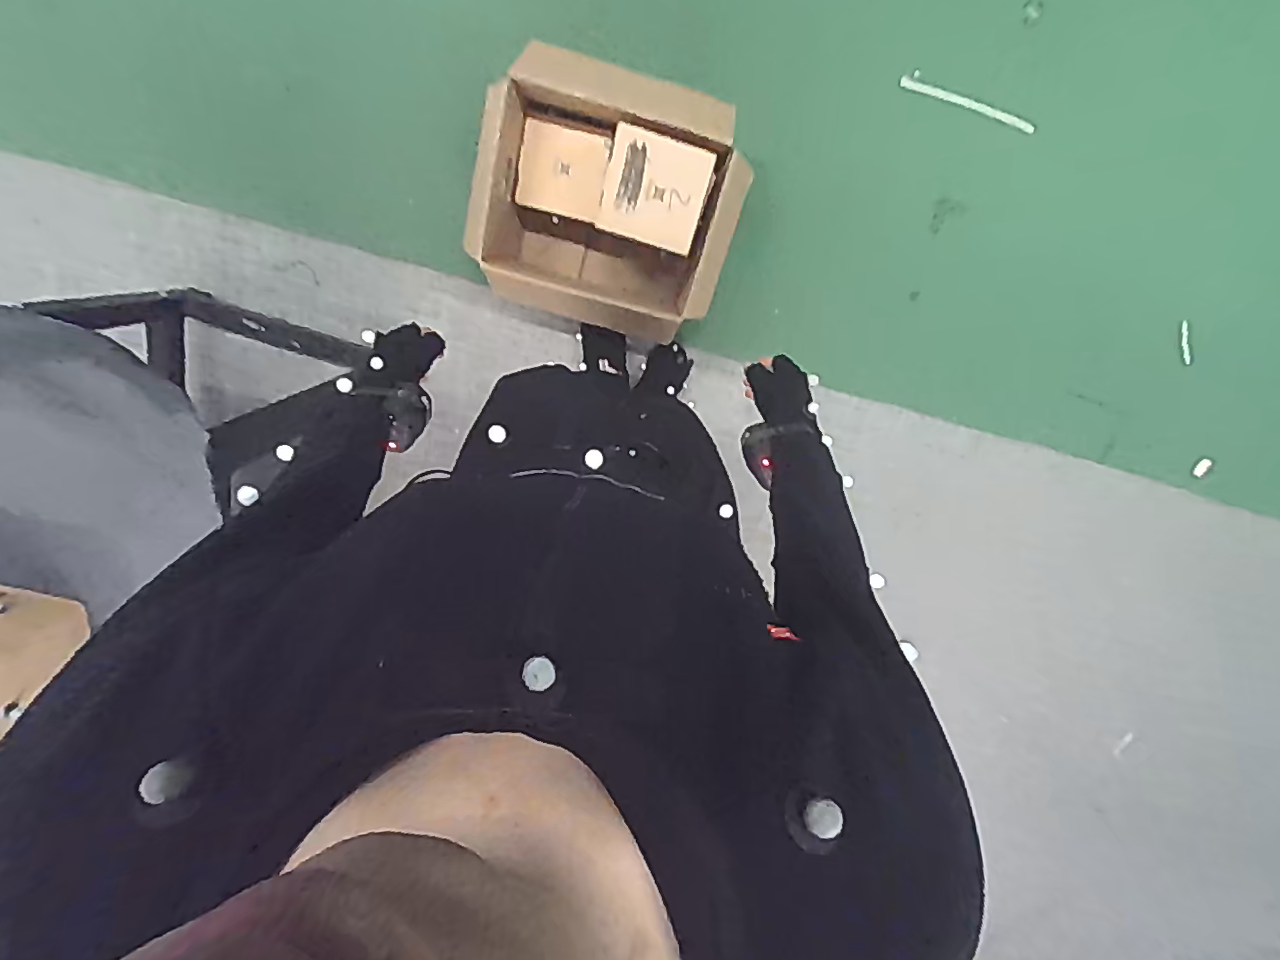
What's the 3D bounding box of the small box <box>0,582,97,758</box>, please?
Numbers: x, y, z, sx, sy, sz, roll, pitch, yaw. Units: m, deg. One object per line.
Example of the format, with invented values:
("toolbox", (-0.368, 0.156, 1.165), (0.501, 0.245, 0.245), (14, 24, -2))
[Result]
("small box", (-0.953, 0.277, 0.786), (0.168, 0.176, 0.179), (14, 112, -4))
